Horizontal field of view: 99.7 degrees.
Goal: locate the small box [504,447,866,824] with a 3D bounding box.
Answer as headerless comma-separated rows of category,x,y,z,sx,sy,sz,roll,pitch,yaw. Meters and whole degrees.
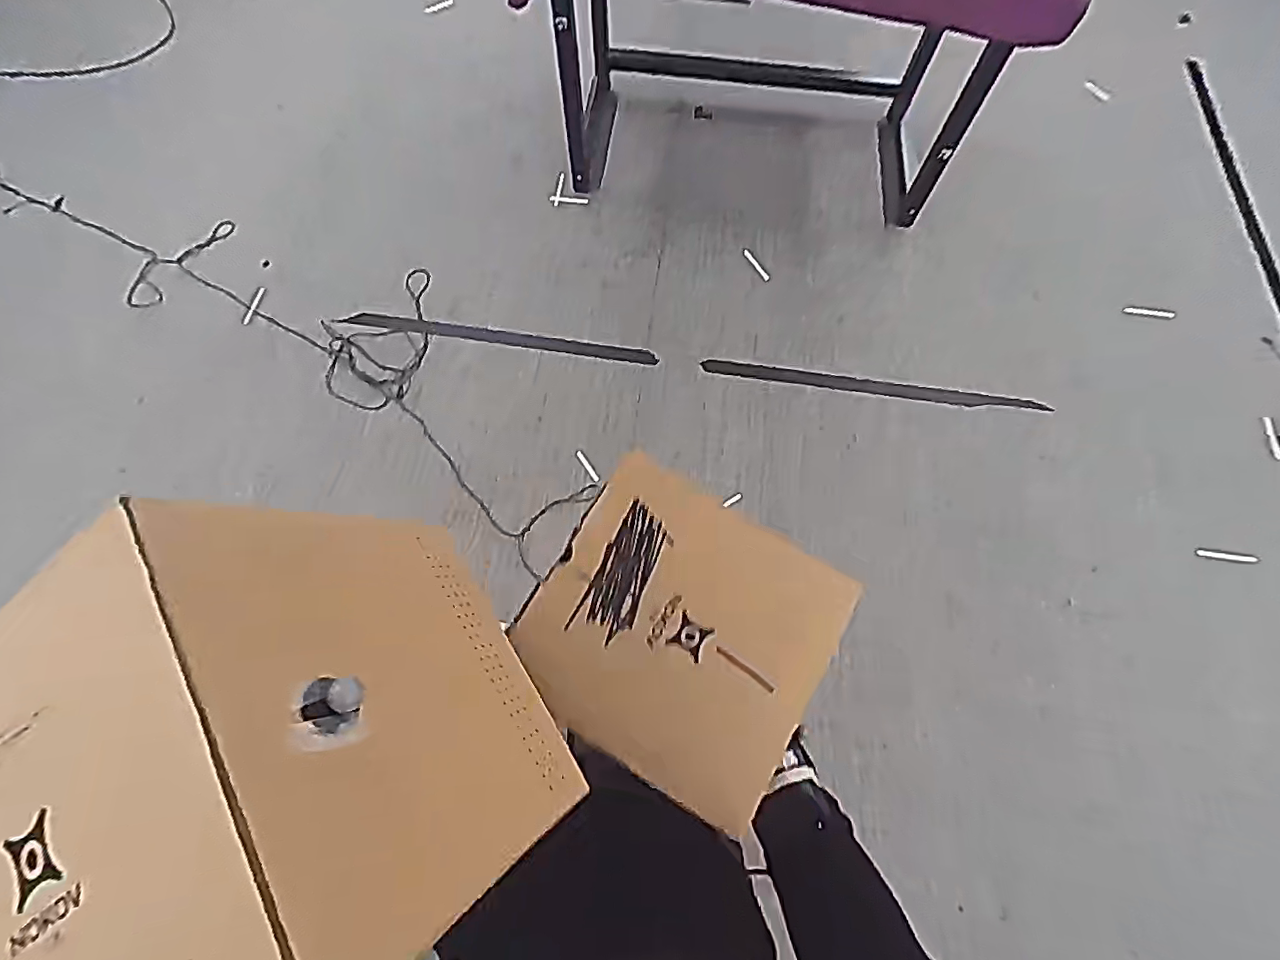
small box,0.025,0.108,0.408,0.179,0.176,0.168,32,76,6

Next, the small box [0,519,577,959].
small box,-0.158,0.137,0.249,0.168,0.176,0.179,-39,72,8
